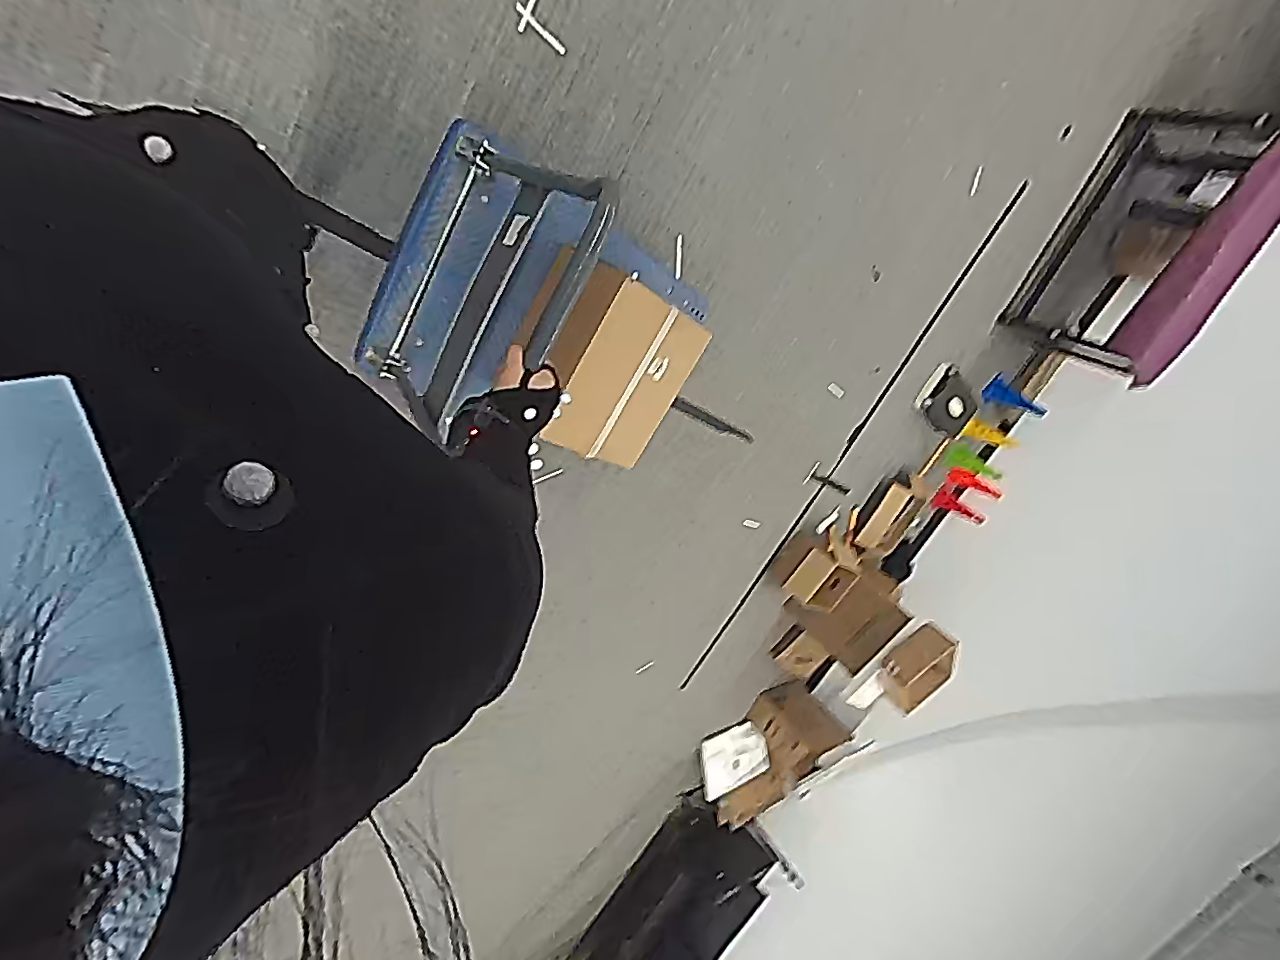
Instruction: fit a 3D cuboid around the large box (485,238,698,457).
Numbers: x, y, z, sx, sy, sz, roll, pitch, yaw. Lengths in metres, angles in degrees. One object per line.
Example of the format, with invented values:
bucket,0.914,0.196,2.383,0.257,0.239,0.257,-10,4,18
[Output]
large box,-0.133,-0.328,1.376,0.320,0.320,0.408,18,108,-47
